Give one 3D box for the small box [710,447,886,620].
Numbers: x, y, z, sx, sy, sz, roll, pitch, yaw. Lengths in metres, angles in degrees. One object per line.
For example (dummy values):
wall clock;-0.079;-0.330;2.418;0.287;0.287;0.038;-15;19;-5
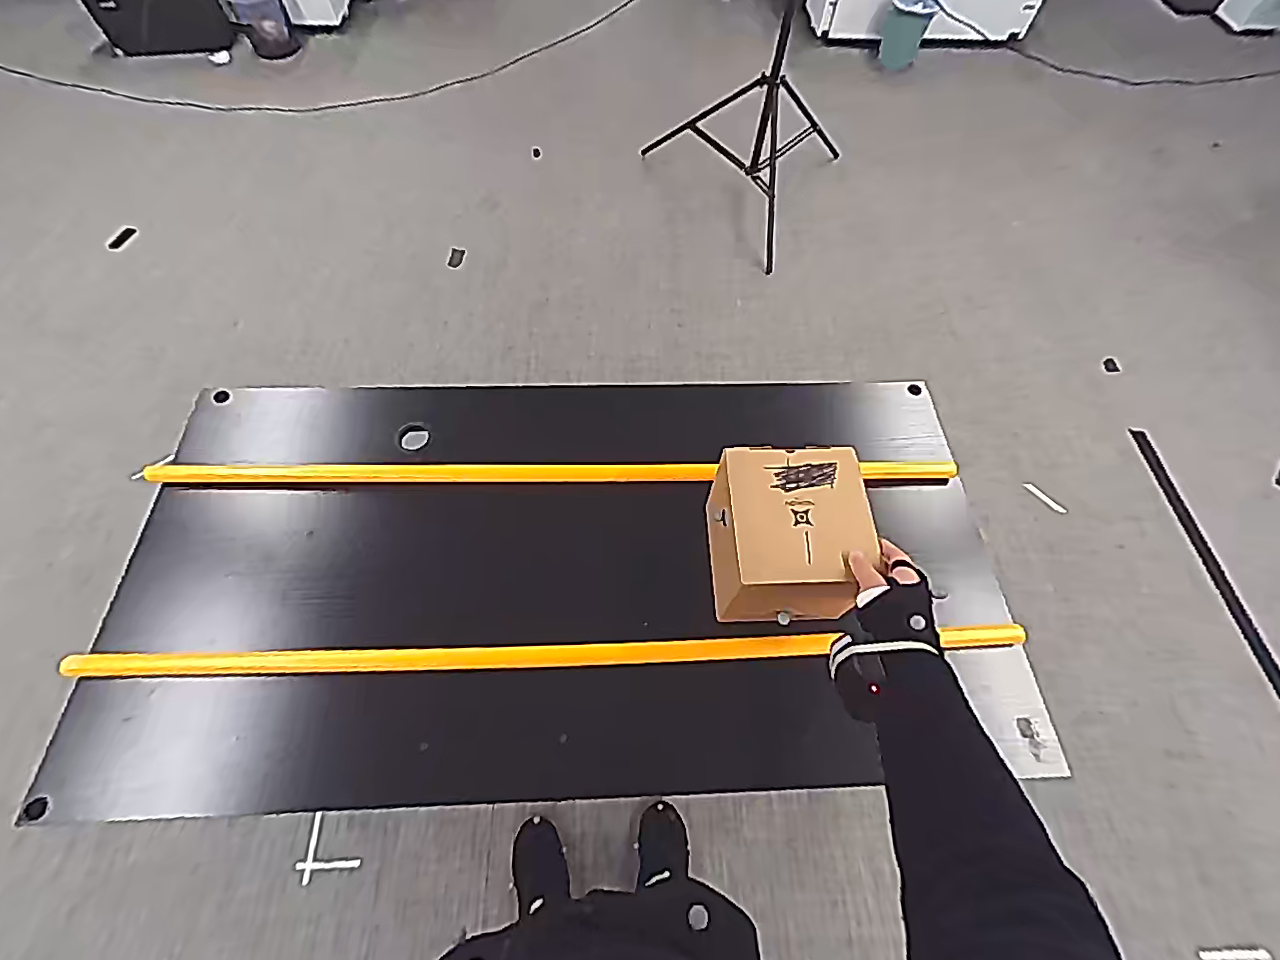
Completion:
small box;0.188;0.074;0.704;0.168;0.176;0.179;-1;62;-2
